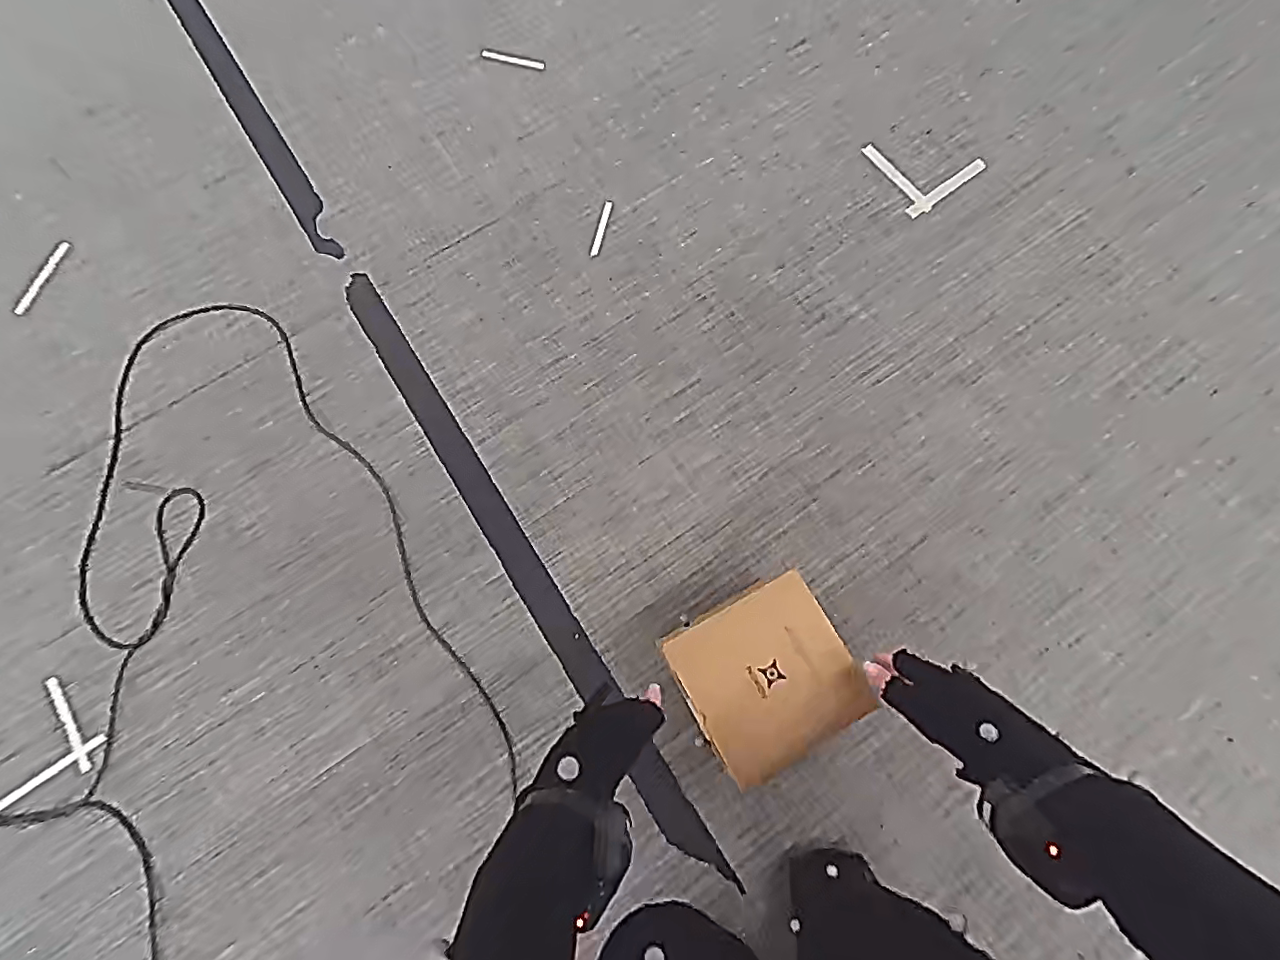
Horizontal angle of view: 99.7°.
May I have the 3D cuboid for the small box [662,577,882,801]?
[{"bbox_3d":[0.139,0.235,0.642,0.179,0.176,0.168,-28,77,-7],"label":"small box"}]
